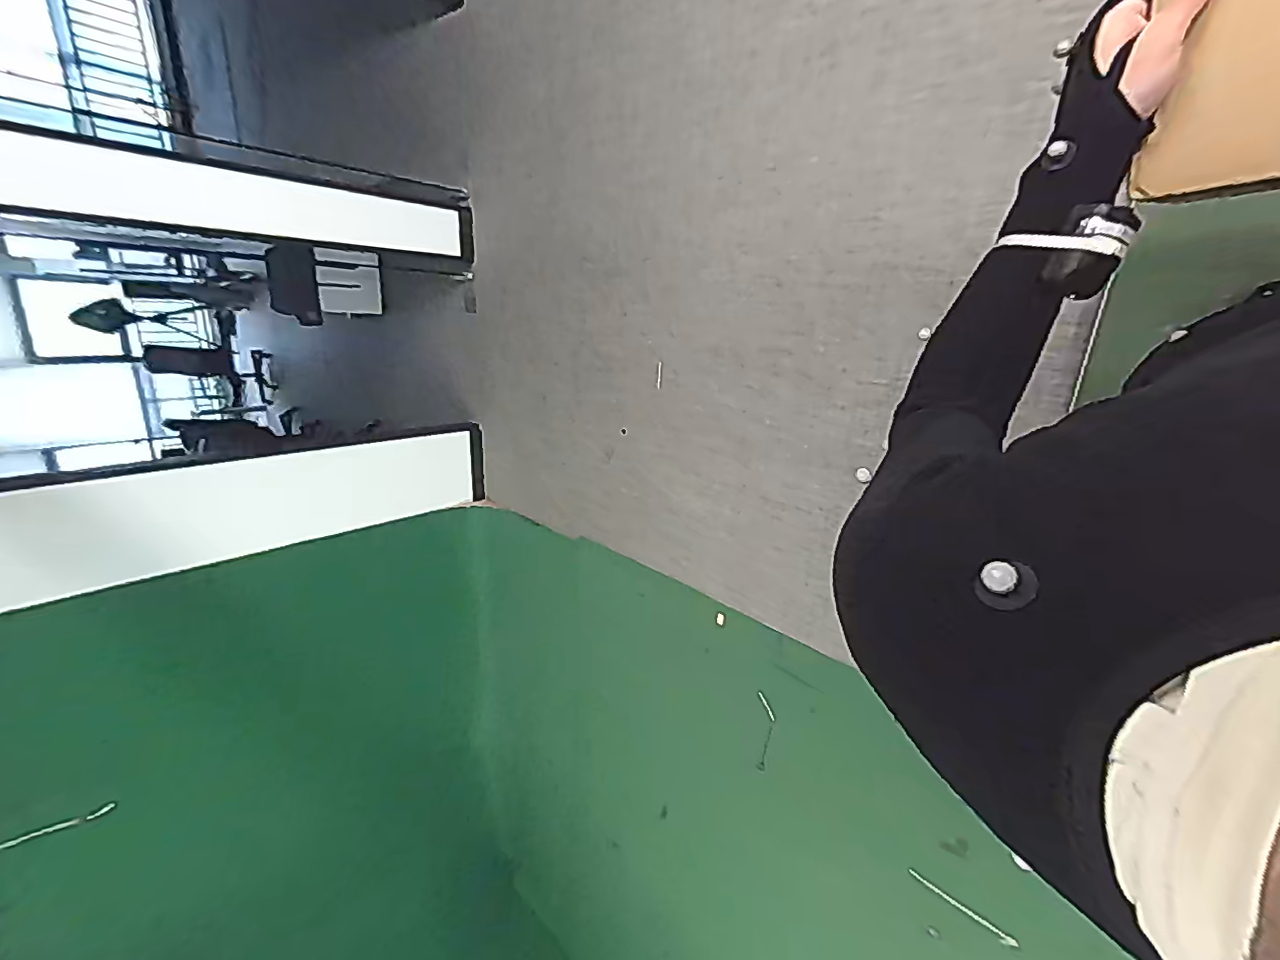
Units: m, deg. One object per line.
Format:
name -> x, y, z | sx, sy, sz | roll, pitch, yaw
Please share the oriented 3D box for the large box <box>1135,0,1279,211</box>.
large box -> 0.628, -0.393, 0.358 | 0.408, 0.320, 0.320 | 11, 116, 45
